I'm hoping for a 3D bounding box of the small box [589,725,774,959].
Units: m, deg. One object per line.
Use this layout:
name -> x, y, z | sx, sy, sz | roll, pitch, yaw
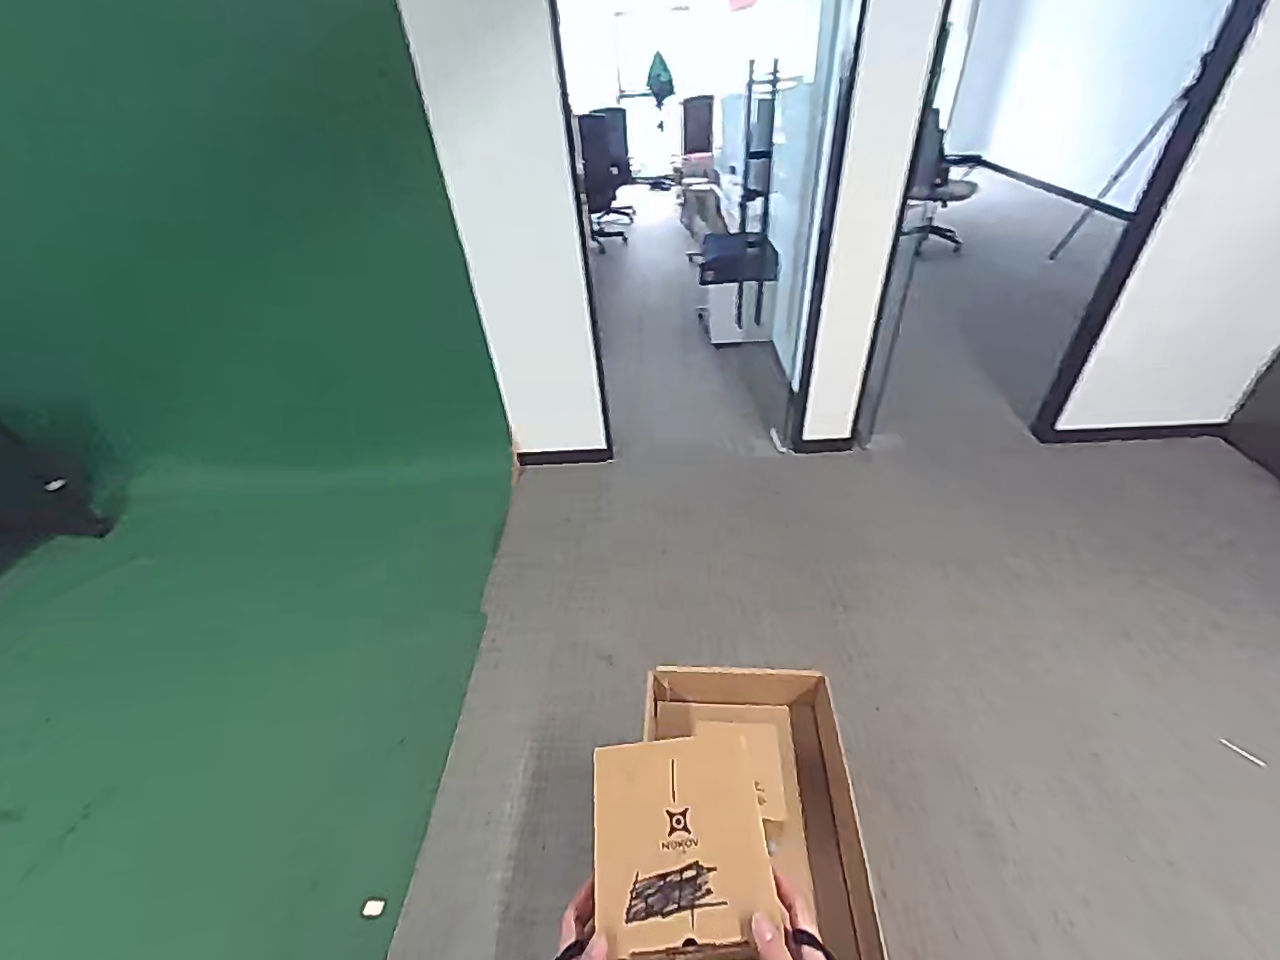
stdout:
small box -> 0.041, 0.390, 0.579 | 0.168, 0.176, 0.179 | -7, 43, 2
